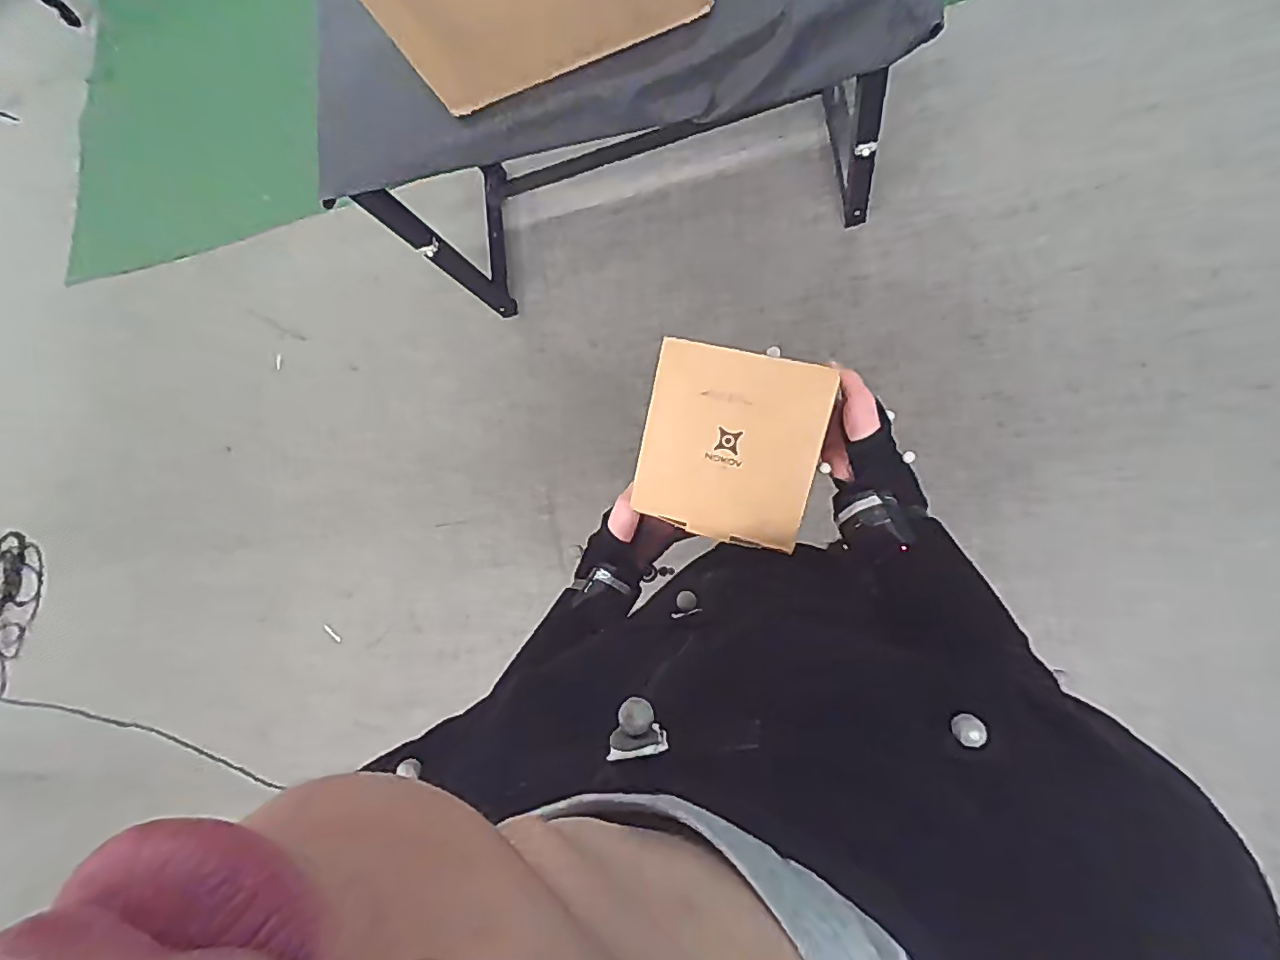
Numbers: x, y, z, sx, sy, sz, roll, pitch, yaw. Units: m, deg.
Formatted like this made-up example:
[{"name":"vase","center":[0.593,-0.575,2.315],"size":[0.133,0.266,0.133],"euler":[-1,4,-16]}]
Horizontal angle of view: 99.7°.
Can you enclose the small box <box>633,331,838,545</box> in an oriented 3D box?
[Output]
[{"name":"small box","center":[0.105,-0.051,0.587],"size":[0.168,0.176,0.179],"euler":[14,101,13]}]
